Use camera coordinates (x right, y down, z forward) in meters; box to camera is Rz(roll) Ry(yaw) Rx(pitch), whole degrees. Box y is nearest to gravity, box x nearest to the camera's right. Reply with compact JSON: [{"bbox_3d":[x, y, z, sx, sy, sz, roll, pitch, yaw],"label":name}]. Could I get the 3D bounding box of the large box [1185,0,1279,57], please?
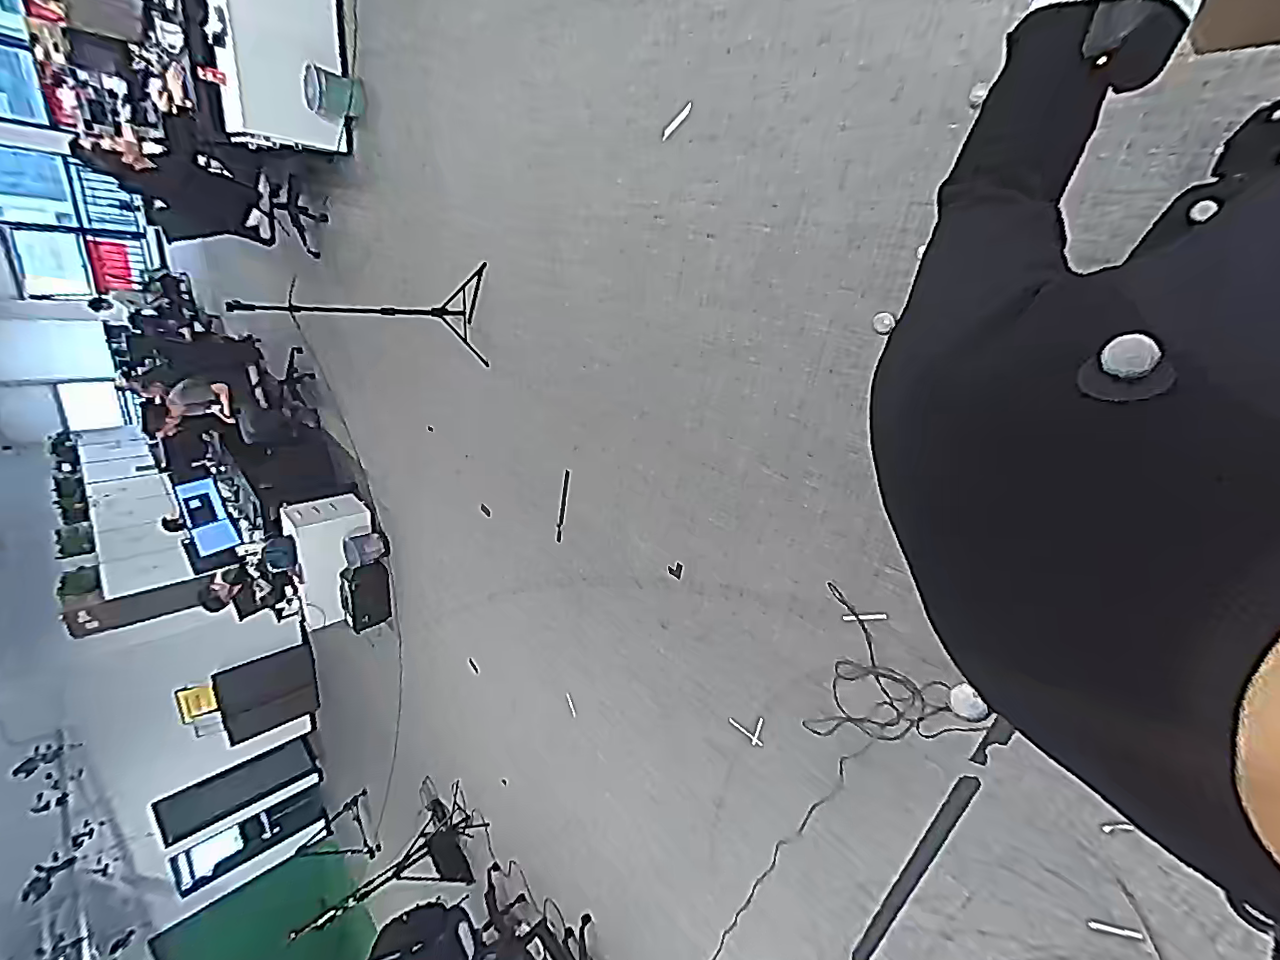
[{"bbox_3d":[0.590,-0.461,0.259,0.408,0.320,0.320,24,123,39],"label":"large box"}]
